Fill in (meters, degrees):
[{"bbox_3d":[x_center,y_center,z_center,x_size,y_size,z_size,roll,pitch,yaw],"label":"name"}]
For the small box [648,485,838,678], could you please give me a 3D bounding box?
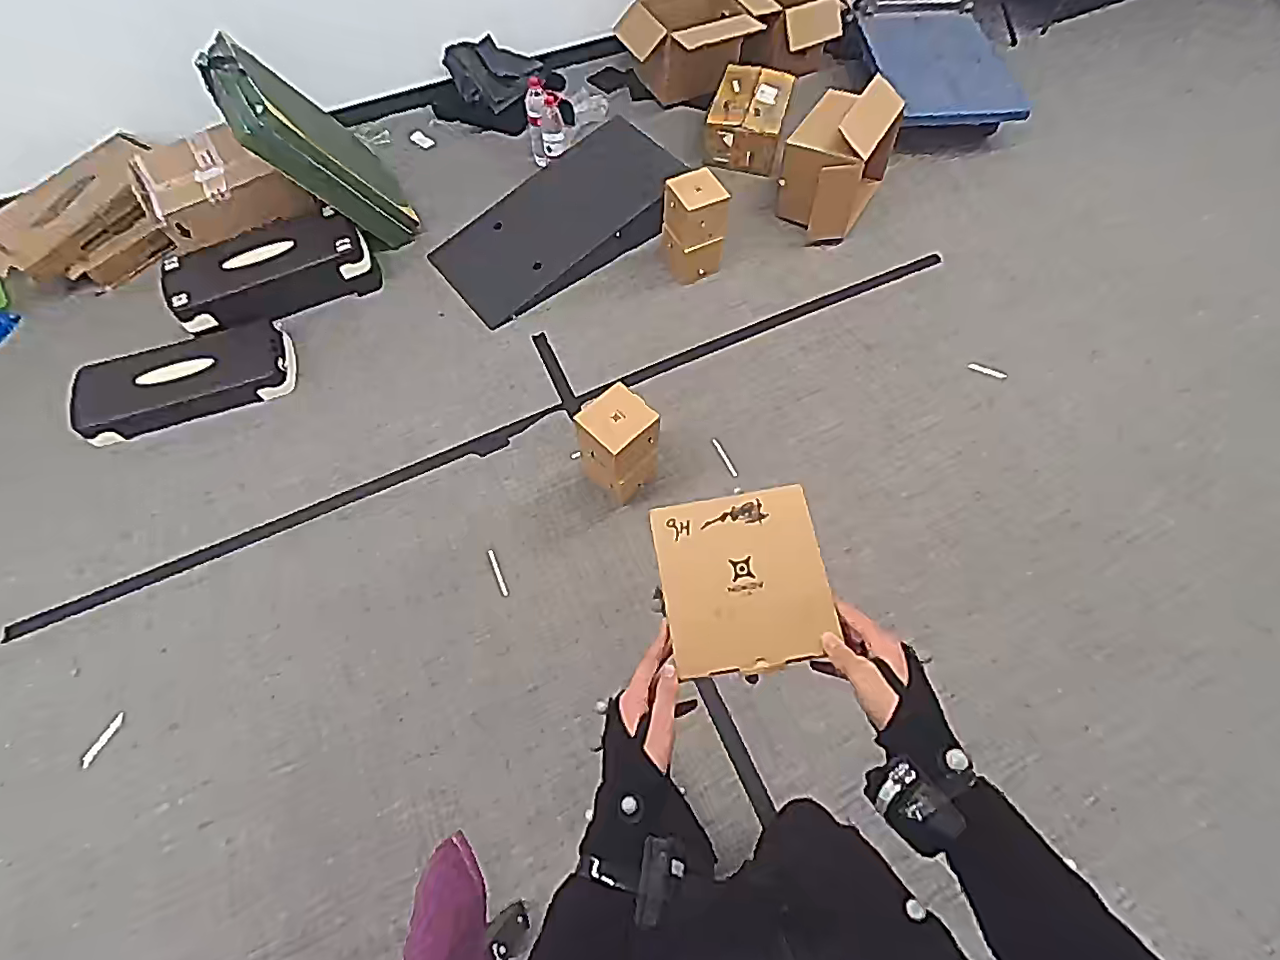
[{"bbox_3d":[0.107,0.122,0.626,0.168,0.176,0.179,-10,72,0],"label":"small box"}]
